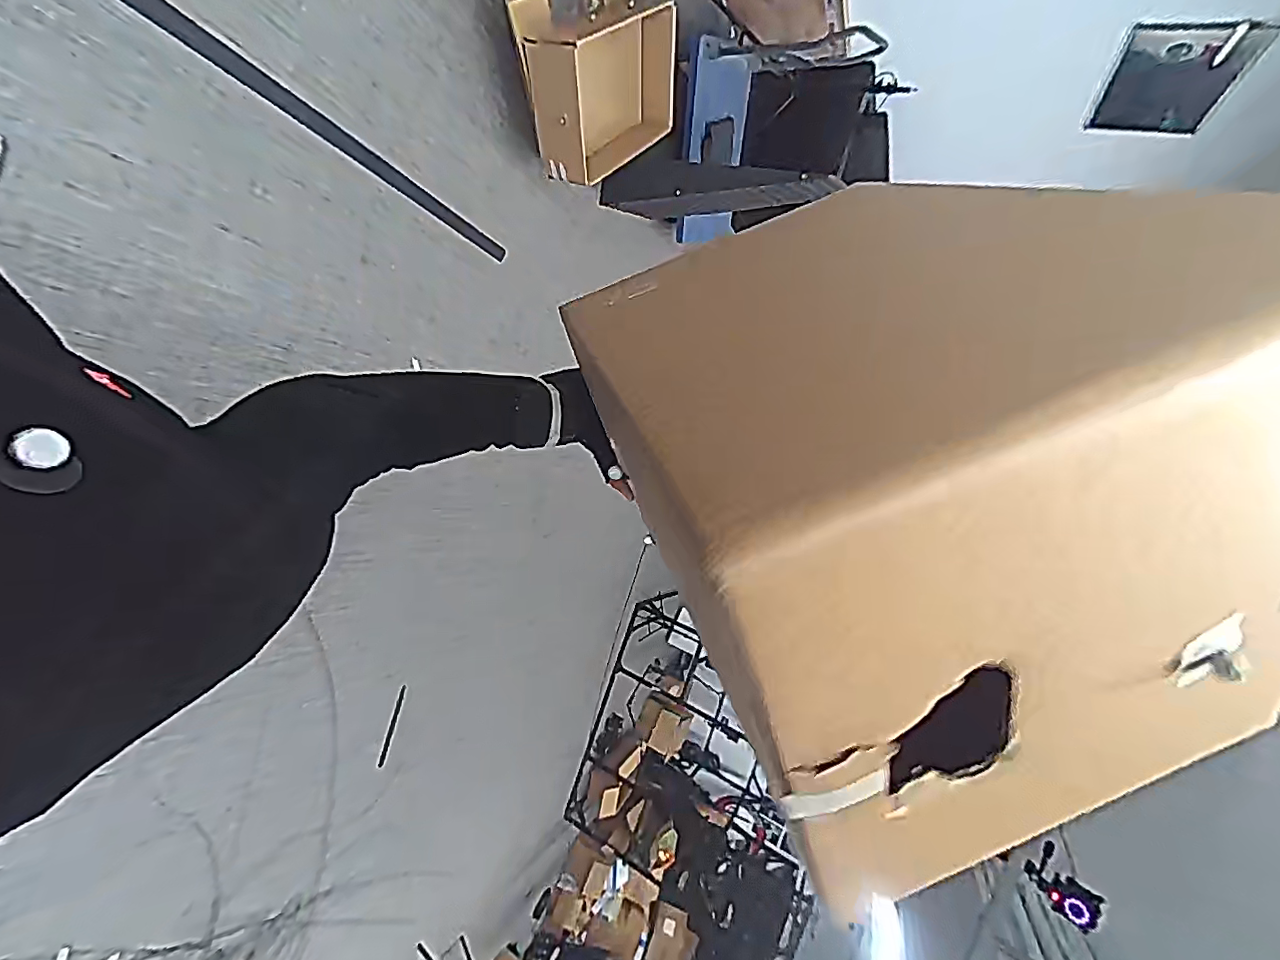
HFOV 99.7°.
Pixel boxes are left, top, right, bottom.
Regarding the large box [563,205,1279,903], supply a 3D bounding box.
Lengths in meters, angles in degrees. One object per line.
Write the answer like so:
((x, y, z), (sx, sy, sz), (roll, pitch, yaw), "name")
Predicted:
((0.153, -0.001, 0.429), (0.320, 0.408, 0.320), (-21, 122, -2), "large box")
